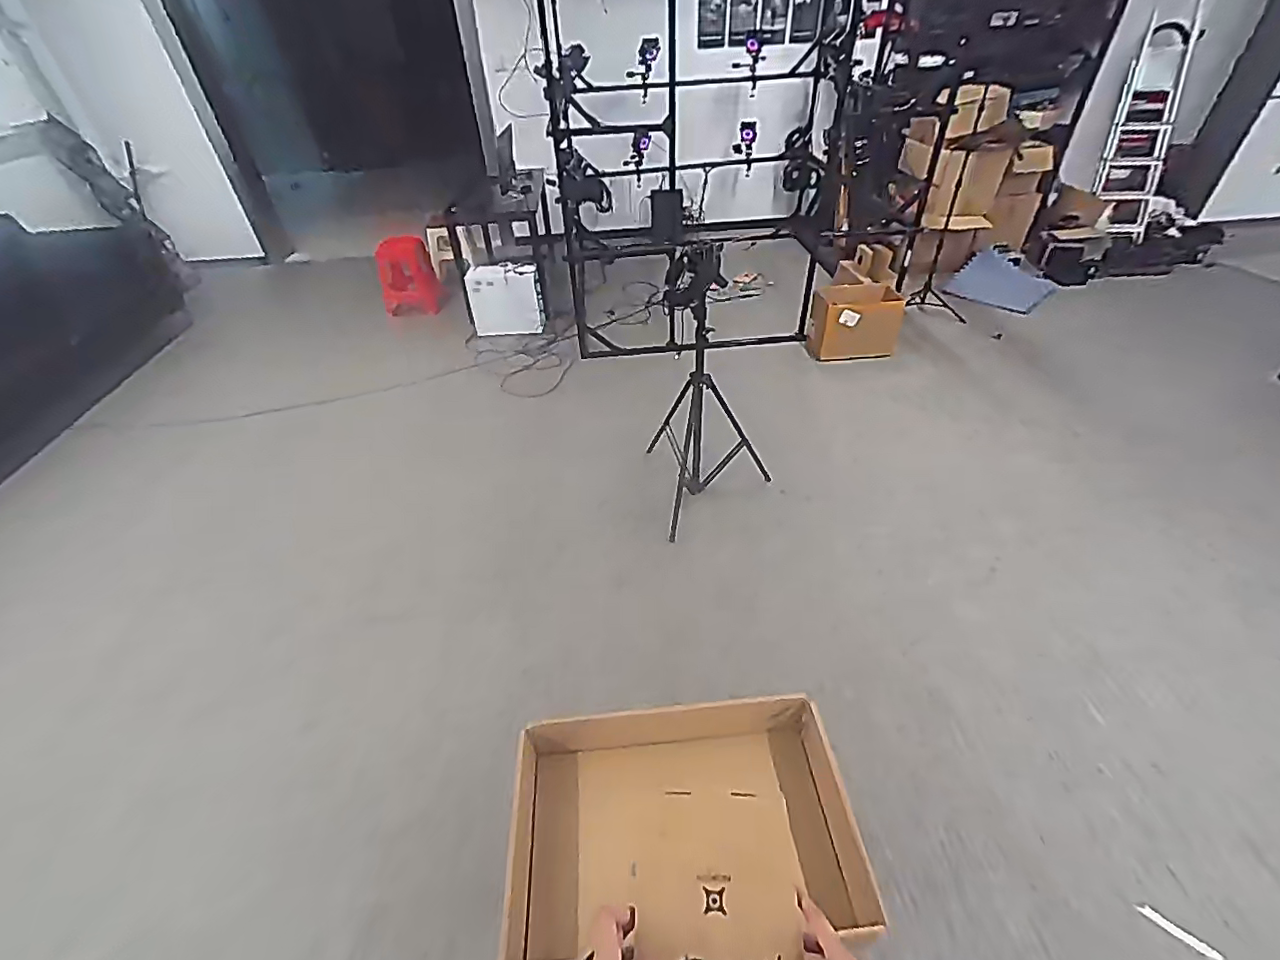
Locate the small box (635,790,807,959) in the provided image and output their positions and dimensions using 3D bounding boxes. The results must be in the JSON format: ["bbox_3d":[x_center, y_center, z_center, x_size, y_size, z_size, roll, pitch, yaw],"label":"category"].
[{"bbox_3d":[0.086,0.467,0.611,0.168,0.176,0.179,-2,51,6],"label":"small box"}]
